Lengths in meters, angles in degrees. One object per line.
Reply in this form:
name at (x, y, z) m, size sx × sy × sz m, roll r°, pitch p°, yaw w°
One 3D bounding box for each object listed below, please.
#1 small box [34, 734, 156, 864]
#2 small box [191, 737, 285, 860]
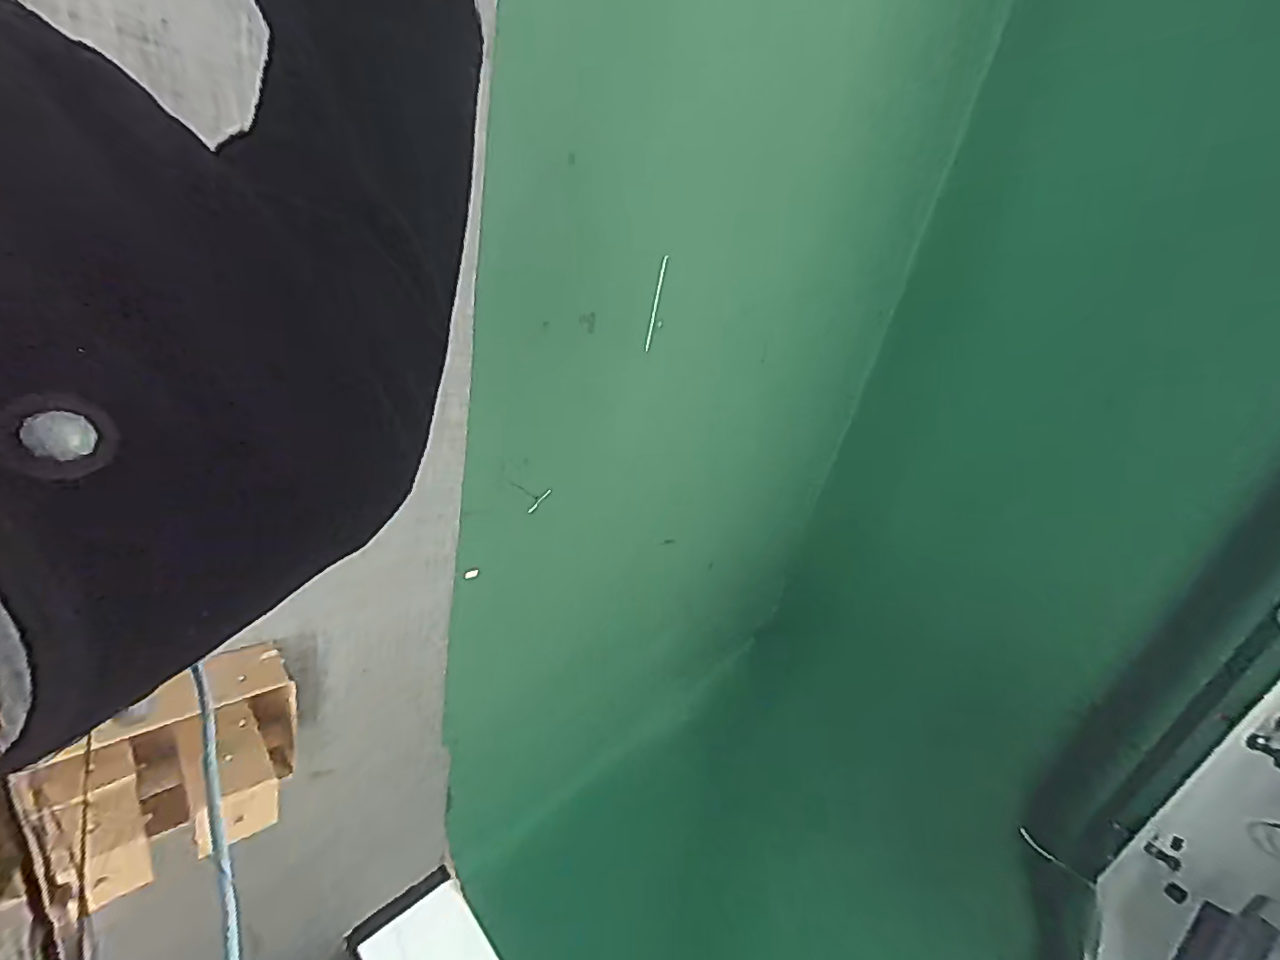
small box at (-1.317, 0.759, 1.309) m, size 0.179 × 0.176 × 0.168 m, roll -15°, pitch 124°, yaw -46°
small box at (-1.034, 0.810, 1.391) m, size 0.168 × 0.176 × 0.179 m, roll -9°, pitch 120°, yaw -46°
